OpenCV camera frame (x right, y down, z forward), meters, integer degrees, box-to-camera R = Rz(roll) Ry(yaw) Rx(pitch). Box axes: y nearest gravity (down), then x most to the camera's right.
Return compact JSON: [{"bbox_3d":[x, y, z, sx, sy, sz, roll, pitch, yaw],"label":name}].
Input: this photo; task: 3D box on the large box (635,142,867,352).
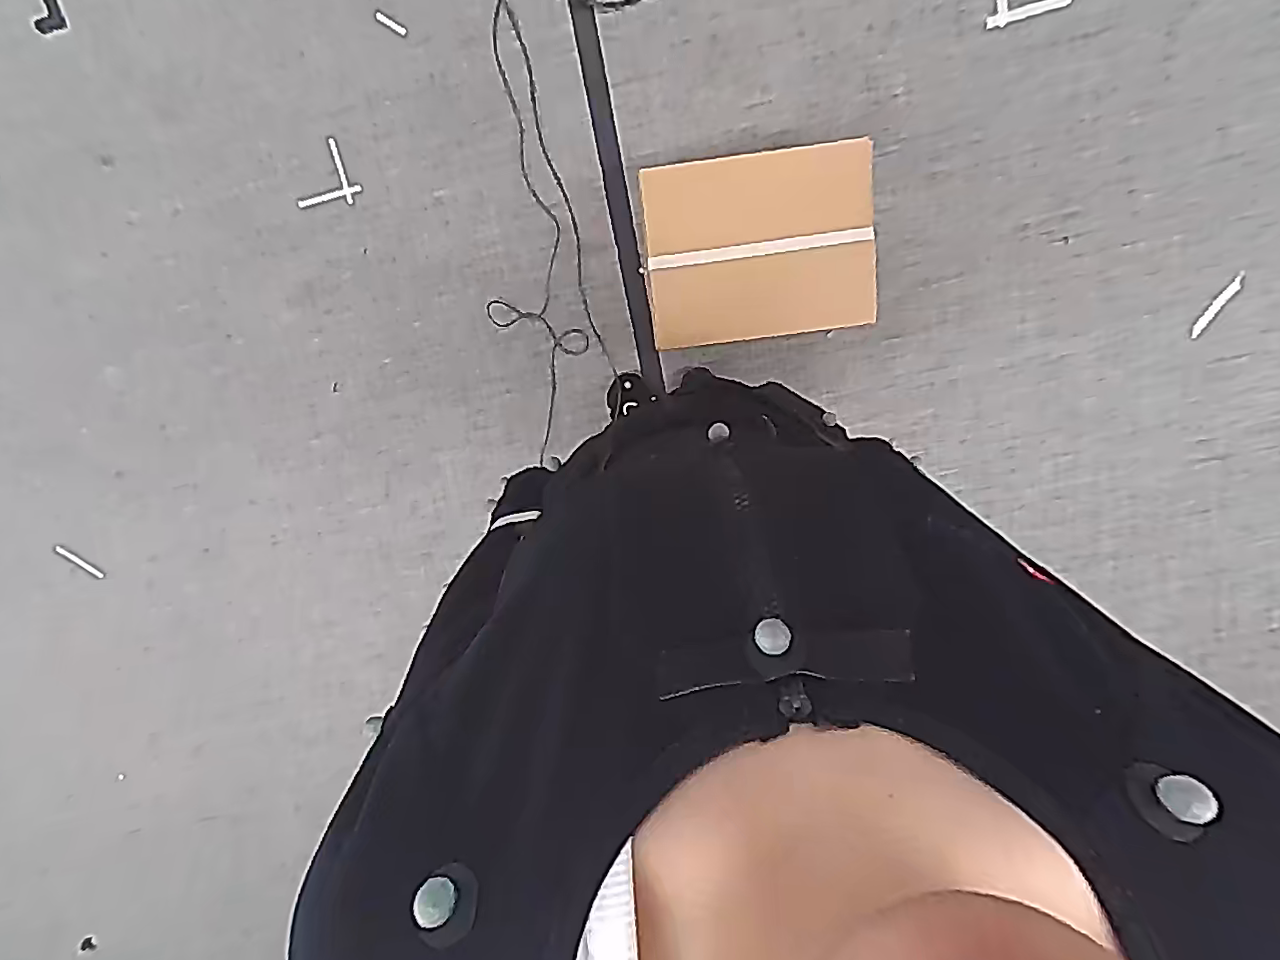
[{"bbox_3d":[0.210,-0.450,1.123,0.408,0.320,0.320,-7,102,2],"label":"large box"}]
